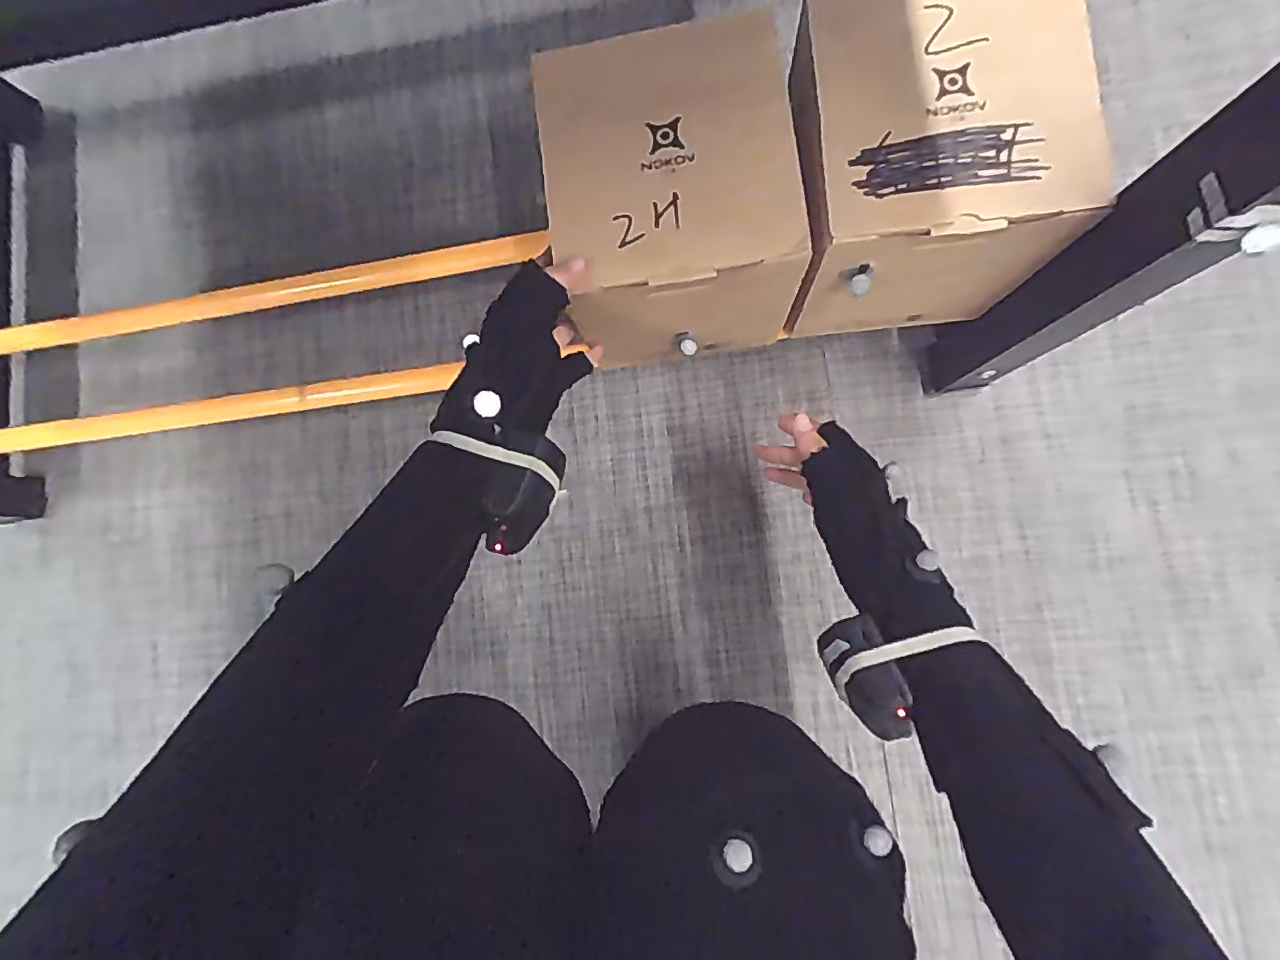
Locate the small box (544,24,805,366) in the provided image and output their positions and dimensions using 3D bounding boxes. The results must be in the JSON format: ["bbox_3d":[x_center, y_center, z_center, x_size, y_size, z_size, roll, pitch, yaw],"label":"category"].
[{"bbox_3d":[0.027,-0.210,0.446,0.168,0.176,0.179,-7,85,5],"label":"small box"}]
